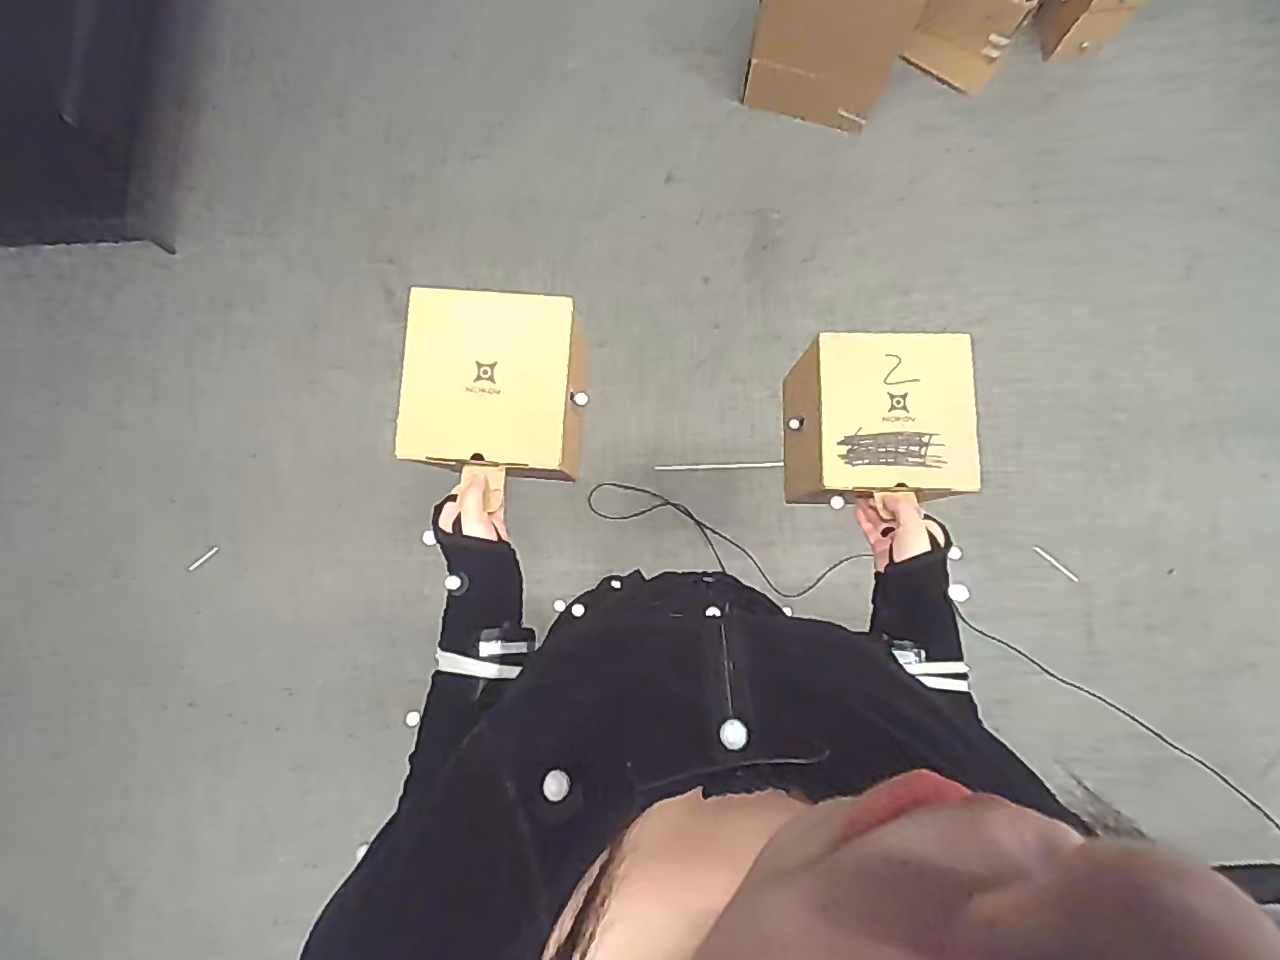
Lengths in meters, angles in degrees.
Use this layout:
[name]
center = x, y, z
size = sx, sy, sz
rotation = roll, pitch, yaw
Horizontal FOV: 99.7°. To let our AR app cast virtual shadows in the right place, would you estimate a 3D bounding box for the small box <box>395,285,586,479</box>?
[small box]
center = -0.154, -0.098, 0.615
size = 0.168, 0.176, 0.179
rotation = 5, 87, 0
